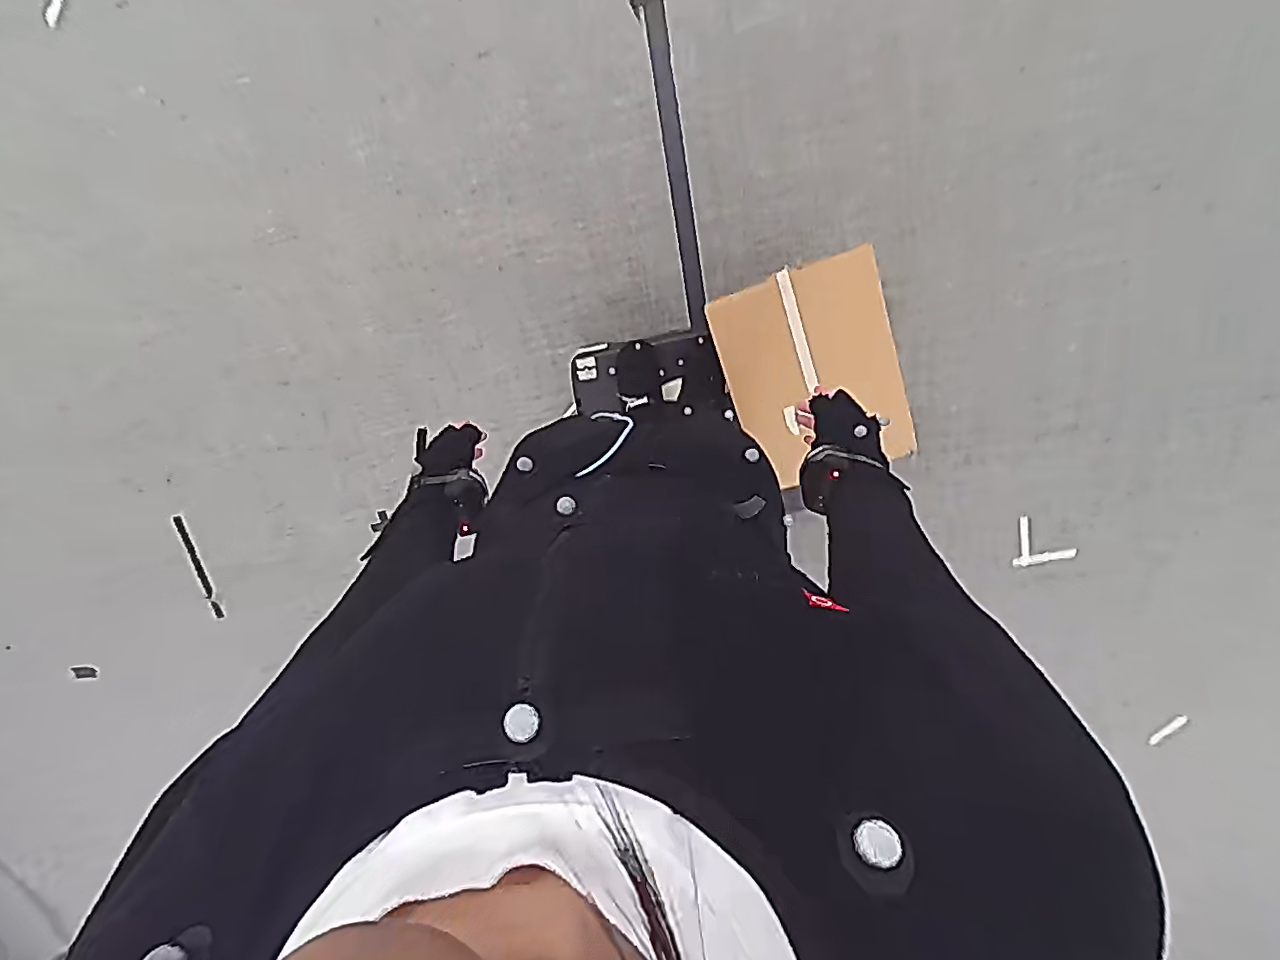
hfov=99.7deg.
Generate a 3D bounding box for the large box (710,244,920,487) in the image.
[{"bbox_3d":[0.368,-0.253,1.186,0.320,0.320,0.408,-16,107,18],"label":"large box"}]
